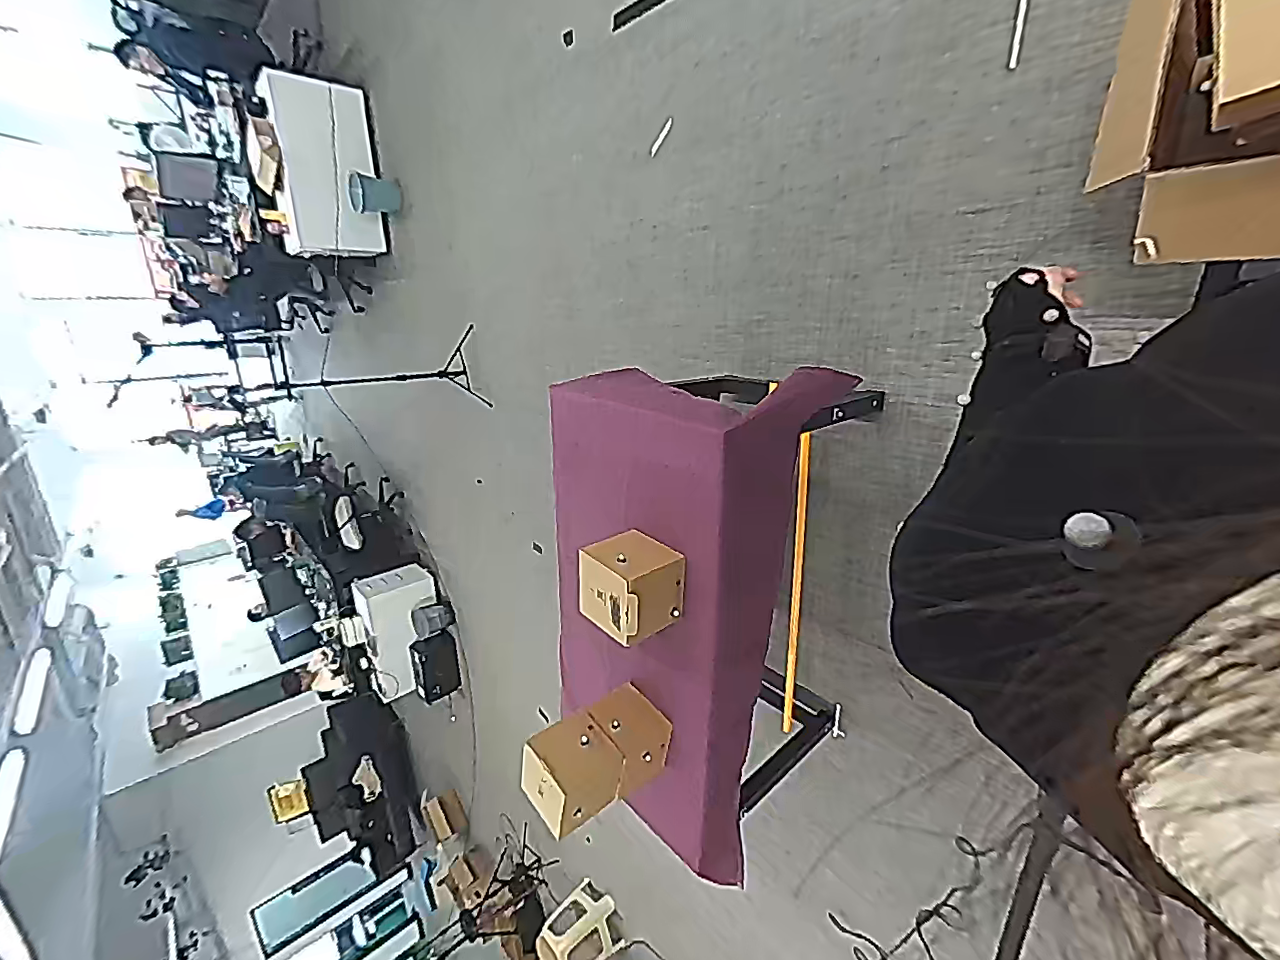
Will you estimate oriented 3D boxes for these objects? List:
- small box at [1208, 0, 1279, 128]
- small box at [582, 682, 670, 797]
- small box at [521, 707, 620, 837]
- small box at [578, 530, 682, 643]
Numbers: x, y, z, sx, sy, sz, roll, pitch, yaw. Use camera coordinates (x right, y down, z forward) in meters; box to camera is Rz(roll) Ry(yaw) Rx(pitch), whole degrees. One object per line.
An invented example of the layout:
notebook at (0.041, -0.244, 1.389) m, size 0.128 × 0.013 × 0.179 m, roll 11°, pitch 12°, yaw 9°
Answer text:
small box at (0.902, -0.612, 0.724) m, size 0.179 × 0.176 × 0.168 m, roll -13°, pitch 95°, yaw 47°
small box at (-0.044, 0.660, 1.398) m, size 0.179 × 0.176 × 0.168 m, roll 32°, pitch 124°, yaw 39°
small box at (-0.167, 0.689, 1.292) m, size 0.168 × 0.176 × 0.179 m, roll 33°, pitch 124°, yaw 38°
small box at (-0.022, 0.230, 1.224) m, size 0.179 × 0.176 × 0.168 m, roll 24°, pitch 120°, yaw 44°
